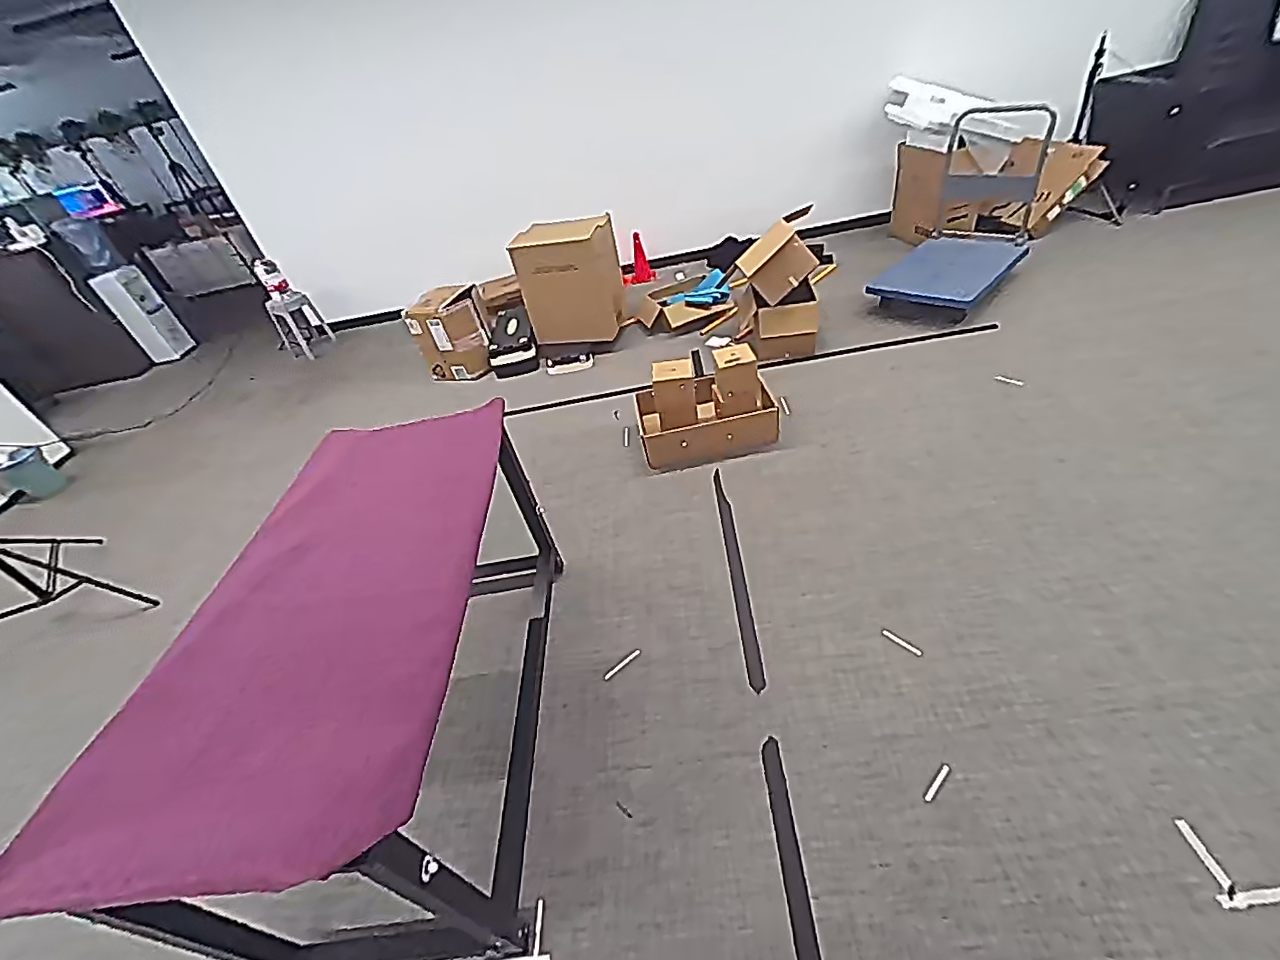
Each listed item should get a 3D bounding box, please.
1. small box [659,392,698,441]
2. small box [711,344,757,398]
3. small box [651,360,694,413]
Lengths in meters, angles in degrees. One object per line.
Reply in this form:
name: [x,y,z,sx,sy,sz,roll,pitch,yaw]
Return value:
small box: [0.181,-0.303,2.546,0.168,0.176,0.179,-4,39,9]
small box: [0.423,-0.482,2.425,0.168,0.176,0.179,-12,38,2]
small box: [0.150,-0.417,2.430,0.179,0.176,0.168,-6,39,8]
